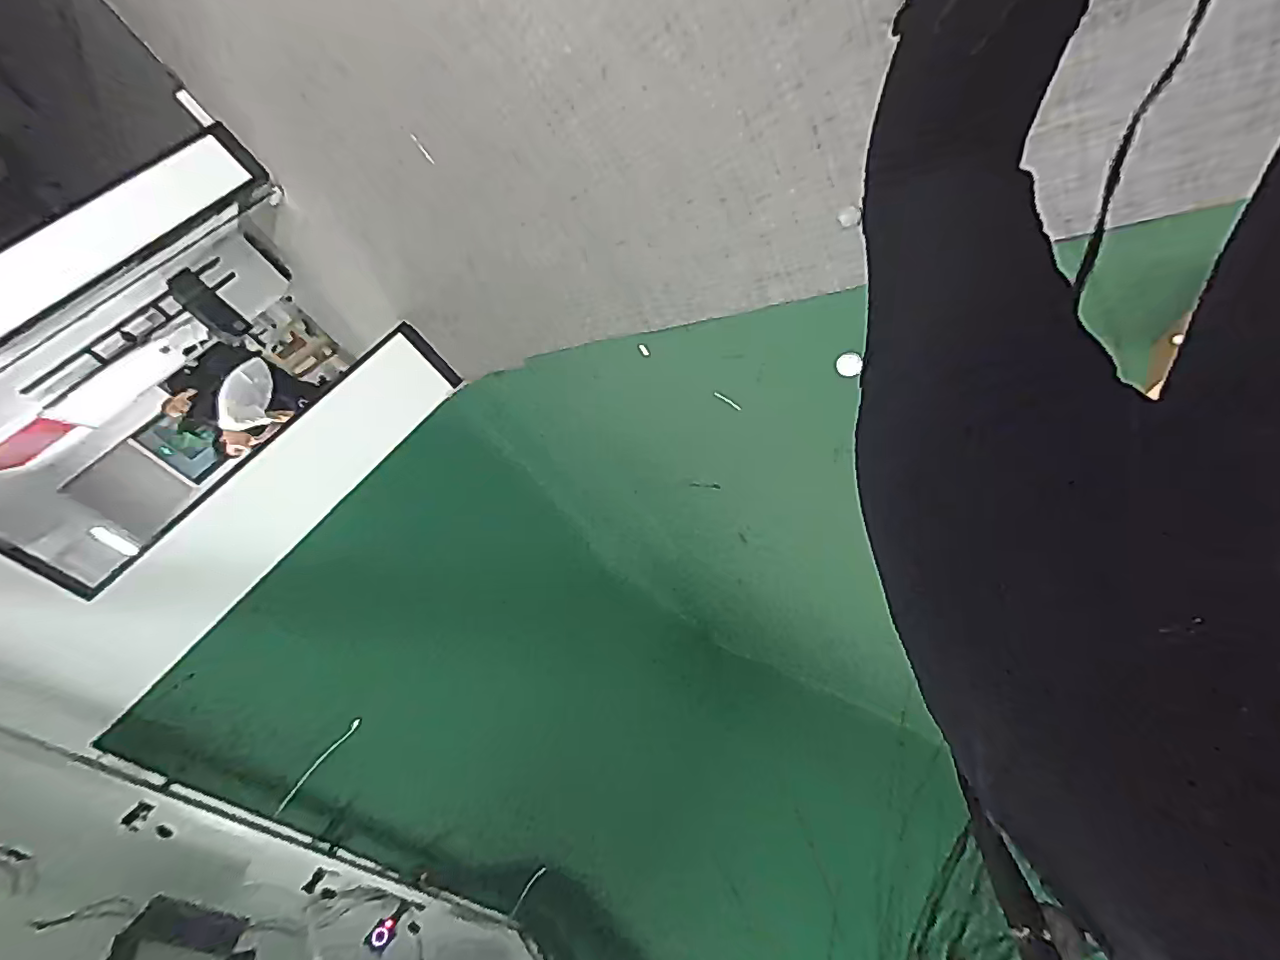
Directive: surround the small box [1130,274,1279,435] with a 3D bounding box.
[{"bbox_3d":[0.996,-0.216,0.919,0.168,0.176,0.179,28,155,20],"label":"small box"}]
